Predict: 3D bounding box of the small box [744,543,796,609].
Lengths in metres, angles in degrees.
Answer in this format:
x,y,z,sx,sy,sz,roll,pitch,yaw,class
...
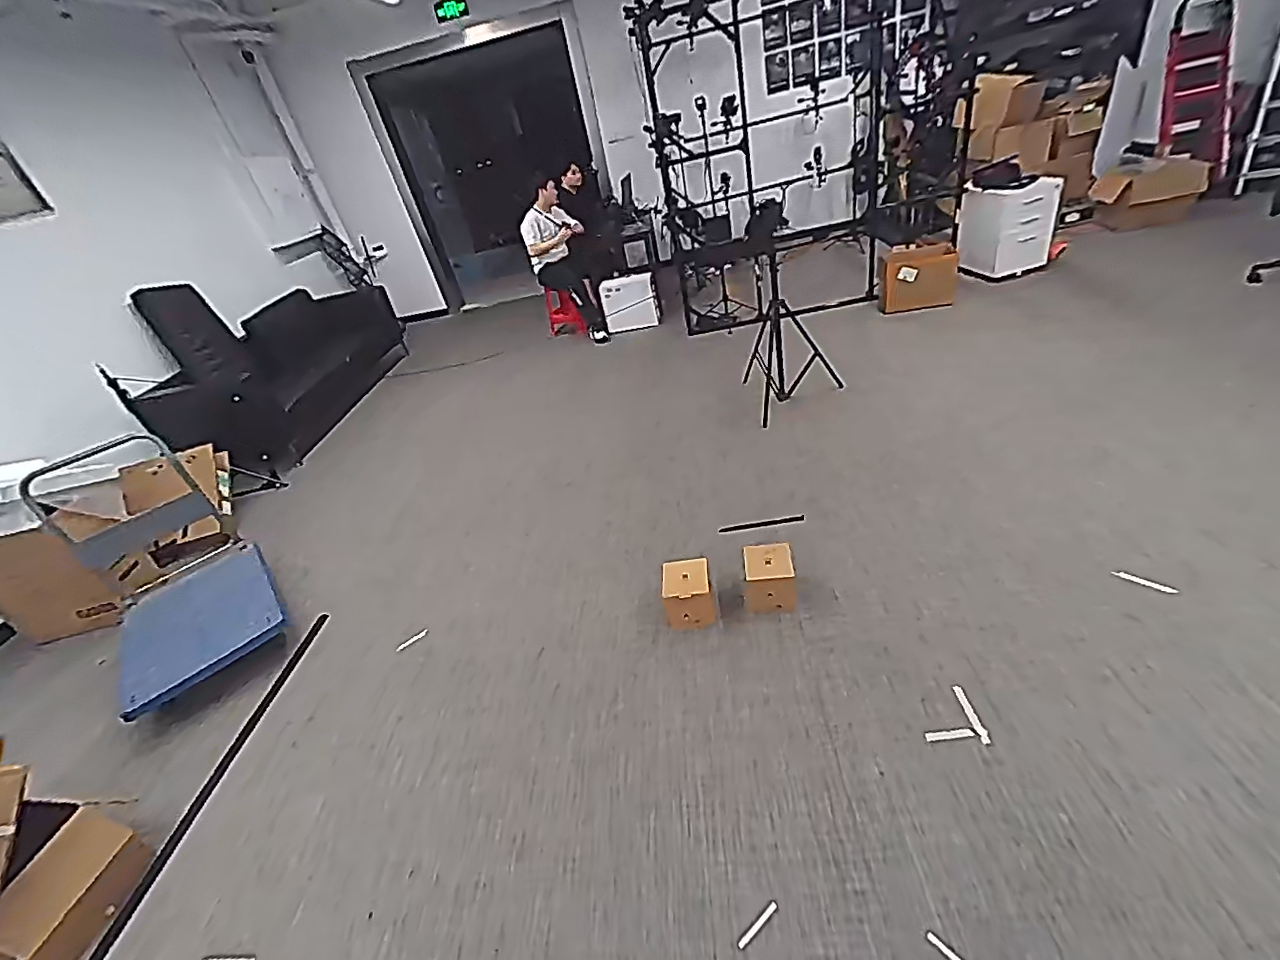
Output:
x,y,z,sx,sy,sz,roll,pitch,yaw,class
0.471,0.355,1.965,0.168,0.176,0.179,-6,34,11,small box

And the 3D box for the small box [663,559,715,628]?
x,y,z,sx,sy,sz,roll,pitch,yaw,class
0.180,0.417,1.990,0.168,0.176,0.179,-9,34,10,small box
